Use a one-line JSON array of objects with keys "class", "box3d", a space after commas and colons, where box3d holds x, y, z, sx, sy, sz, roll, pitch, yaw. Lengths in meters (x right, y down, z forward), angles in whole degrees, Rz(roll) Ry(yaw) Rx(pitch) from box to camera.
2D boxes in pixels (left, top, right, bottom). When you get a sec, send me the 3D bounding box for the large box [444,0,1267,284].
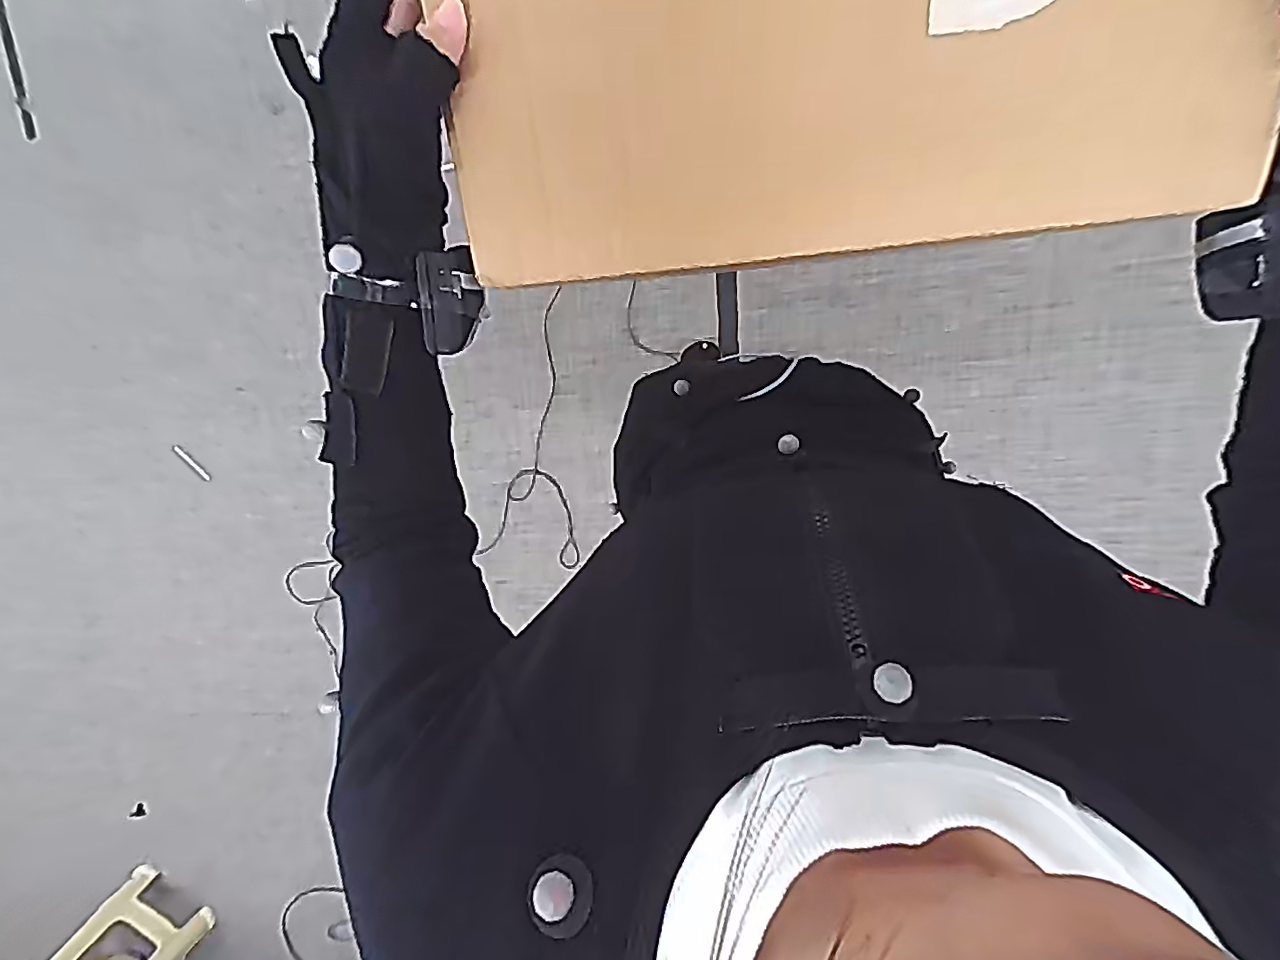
[{"class": "large box", "box3d": [0.102, -0.330, 0.394, 0.408, 0.320, 0.320, -4, 110, 6]}]
